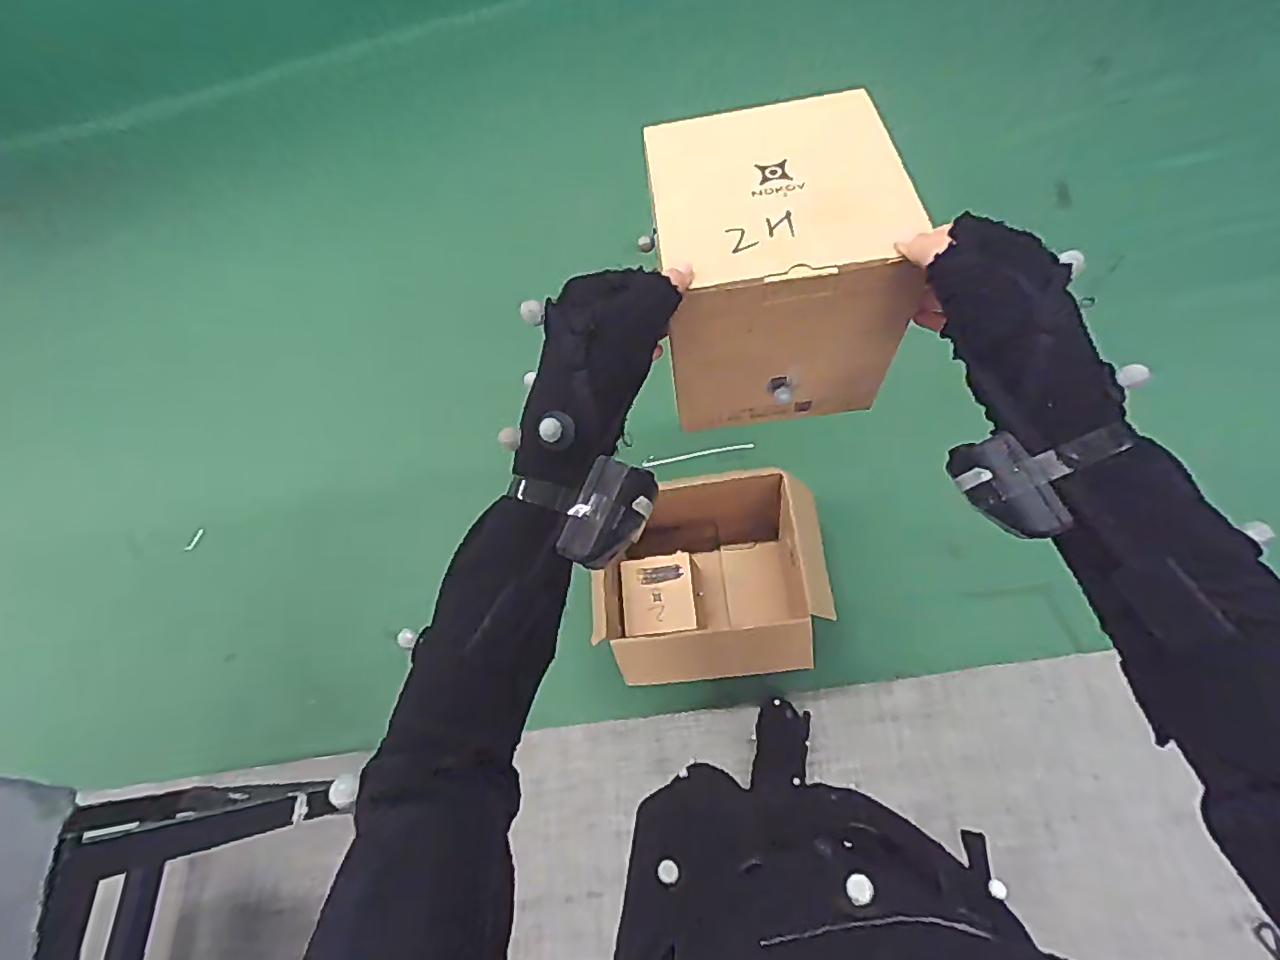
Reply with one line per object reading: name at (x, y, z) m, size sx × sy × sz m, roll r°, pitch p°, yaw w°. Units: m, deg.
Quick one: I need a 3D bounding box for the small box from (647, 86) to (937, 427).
small box at (0.098, -0.165, 0.430) m, size 0.168 × 0.176 × 0.179 m, roll -7°, pitch 62°, yaw 5°
